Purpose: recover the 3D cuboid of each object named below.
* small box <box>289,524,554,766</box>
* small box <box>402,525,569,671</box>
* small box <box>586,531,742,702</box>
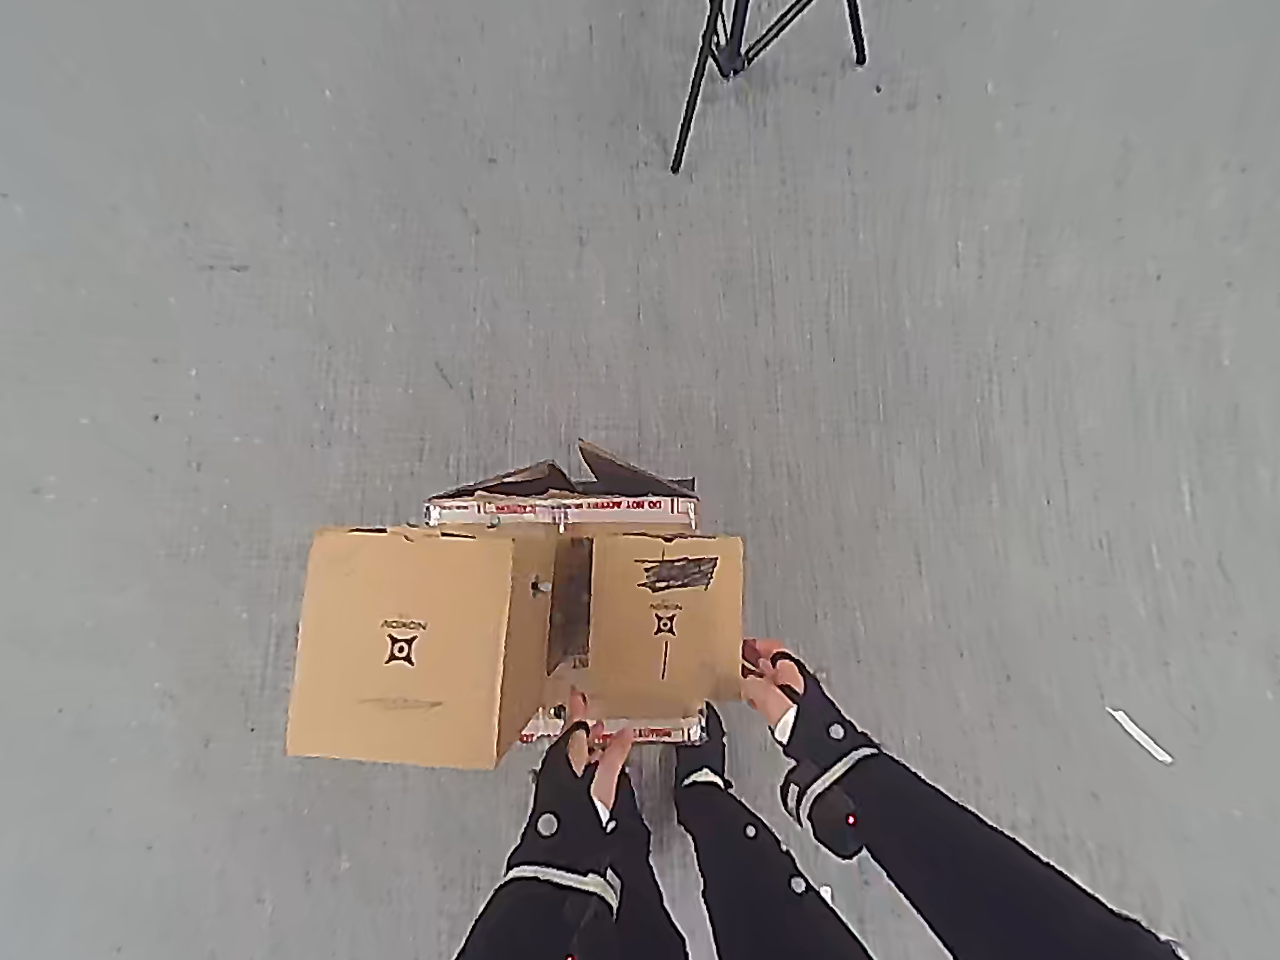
[{"bbox_3d":[-0.179,0.135,0.498,0.168,0.176,0.179,2,84,3],"label":"small box"},{"bbox_3d":[-0.184,0.148,0.661,0.168,0.176,0.179,3,84,2],"label":"small box"},{"bbox_3d":[0.025,0.156,0.660,0.168,0.176,0.179,2,83,-1],"label":"small box"}]
